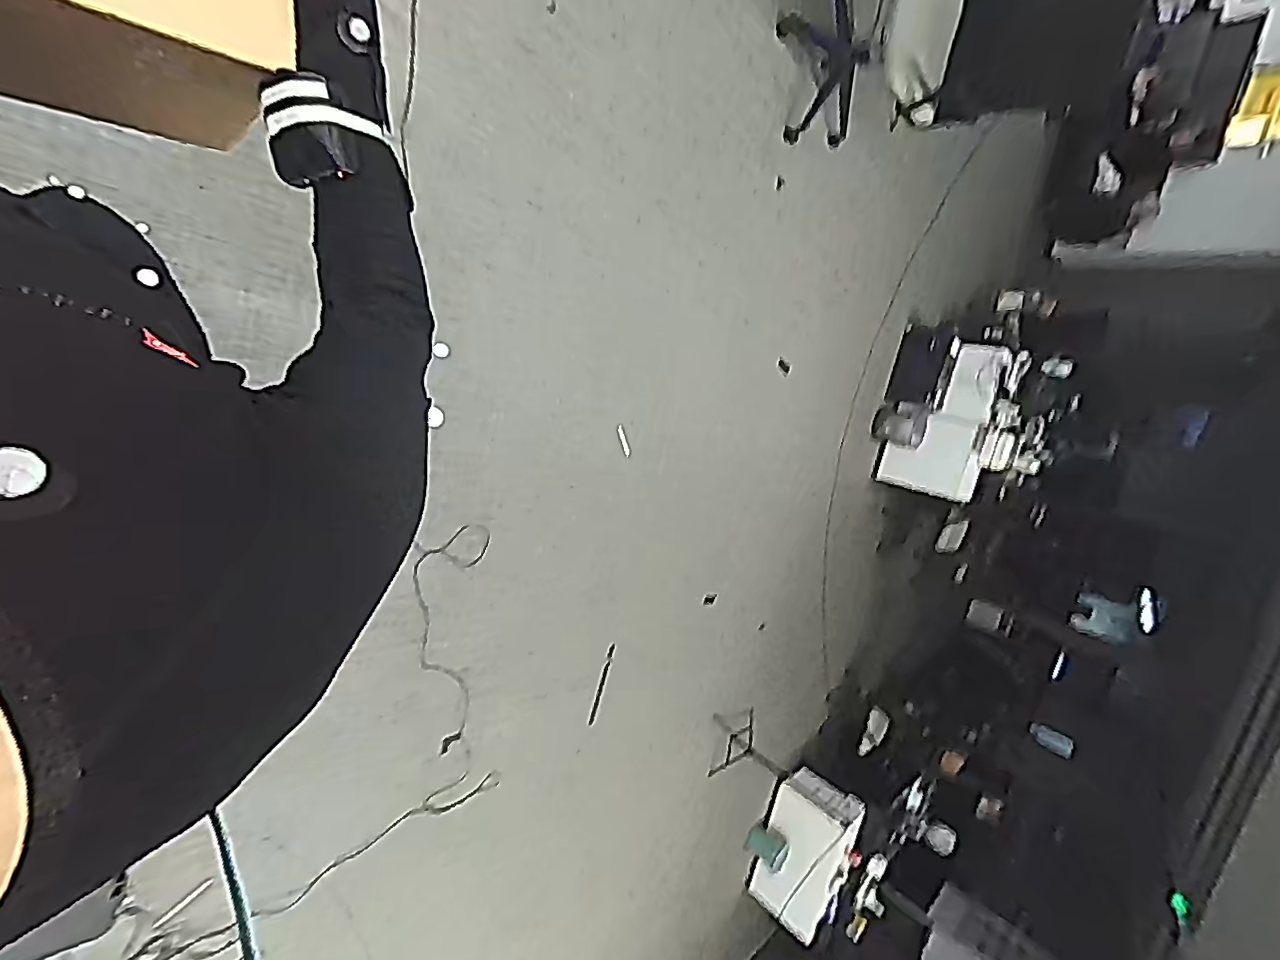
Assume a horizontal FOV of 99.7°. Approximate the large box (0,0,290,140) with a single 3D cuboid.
[{"bbox_3d":[-0.488,-0.456,0.319,0.408,0.320,0.320,-9,111,-43],"label":"large box"}]
